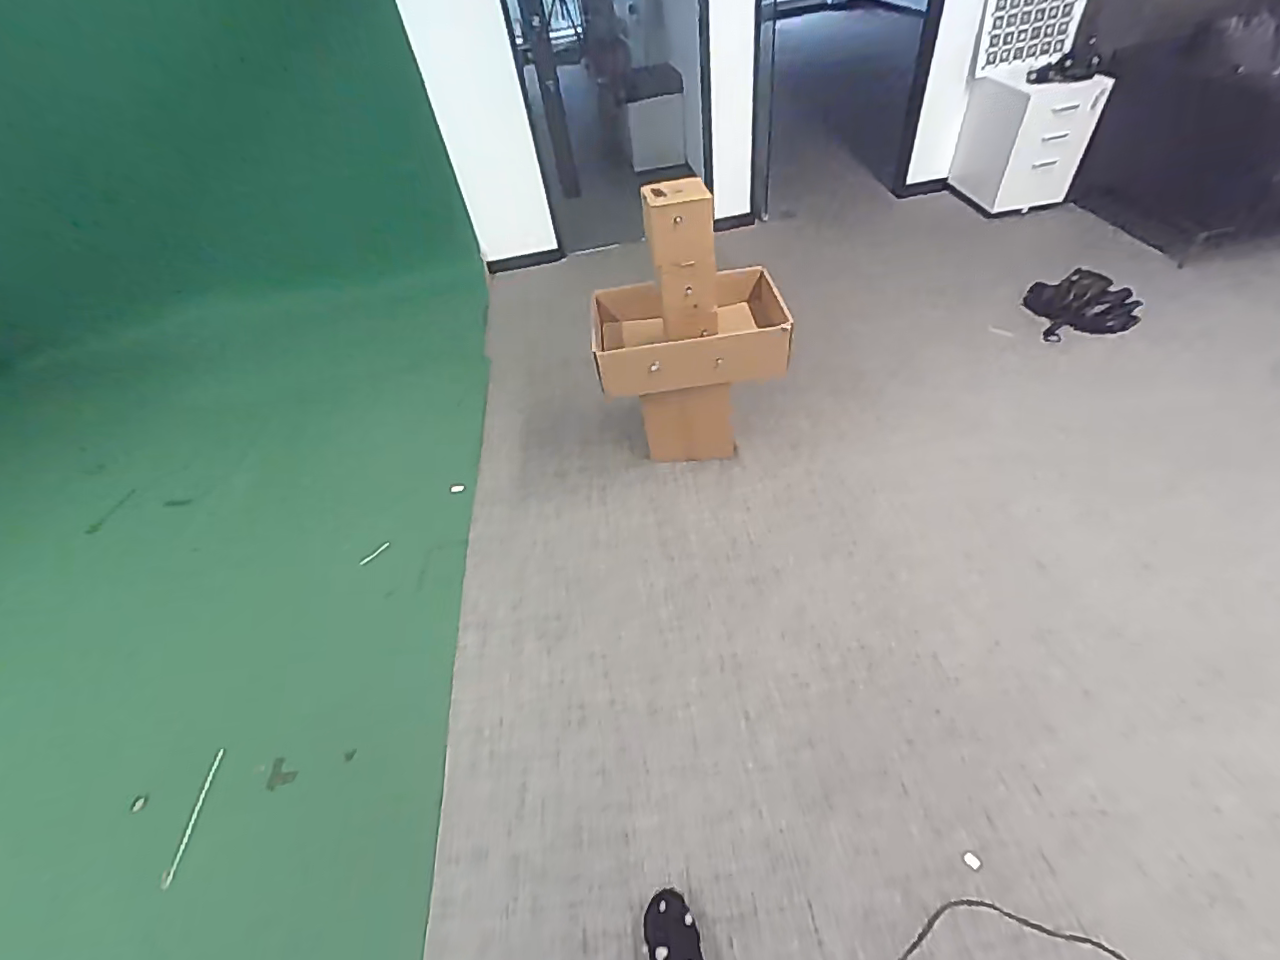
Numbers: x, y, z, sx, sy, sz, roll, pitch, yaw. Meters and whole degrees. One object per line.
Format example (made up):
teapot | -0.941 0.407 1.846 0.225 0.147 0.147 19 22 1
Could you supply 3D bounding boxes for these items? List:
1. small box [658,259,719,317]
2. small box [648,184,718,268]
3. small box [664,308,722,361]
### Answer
small box | 0.151 -0.623 1.690 0.168 0.176 0.179 -9 47 0
small box | 0.126 -0.732 1.568 0.179 0.176 0.168 -10 46 -1
small box | 0.177 -0.510 1.805 0.168 0.176 0.179 -9 44 0
